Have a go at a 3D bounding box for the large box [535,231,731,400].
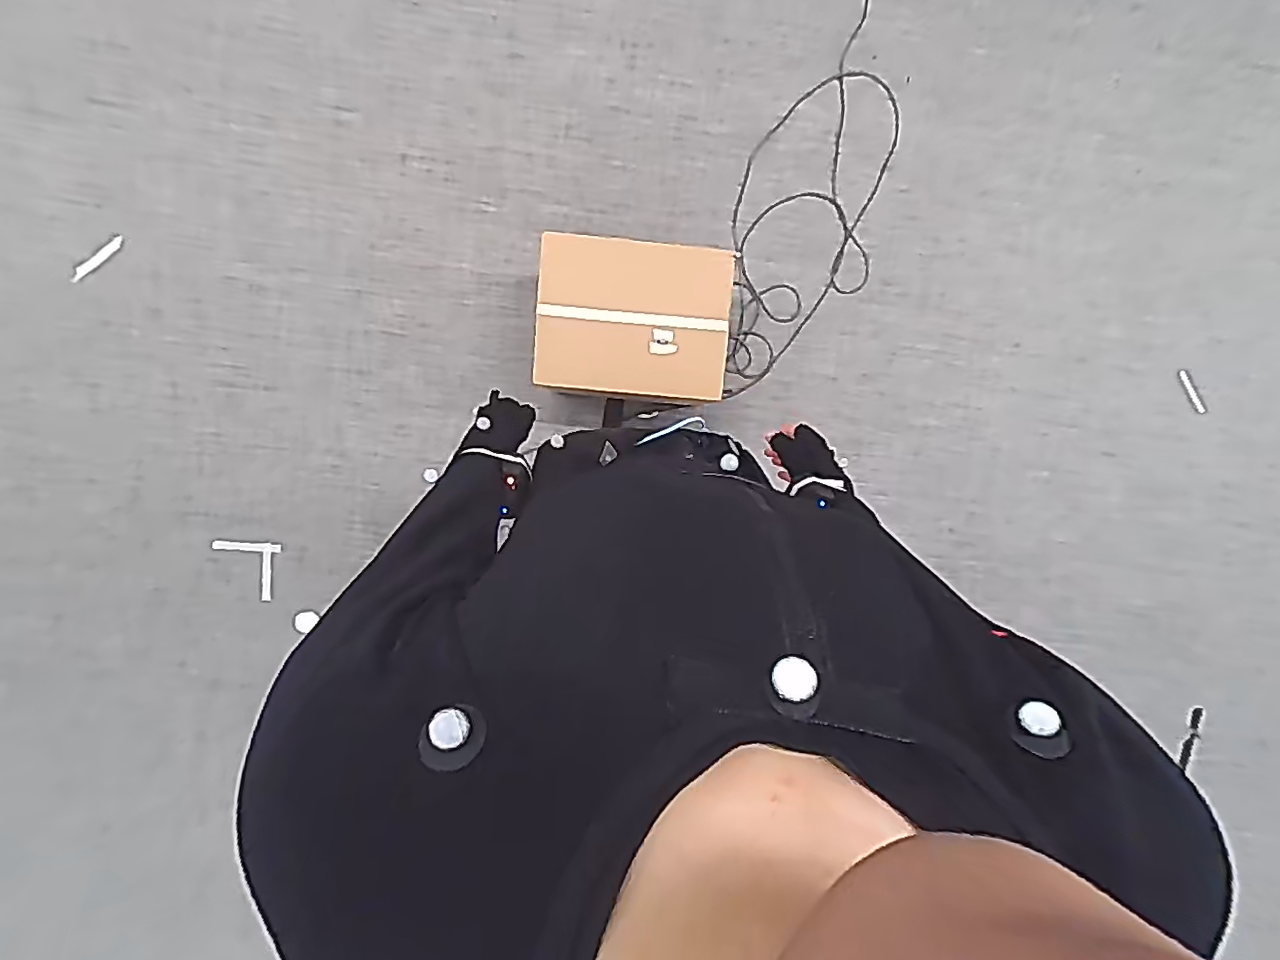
[{"bbox_3d":[-0.025,-0.365,1.290,0.408,0.320,0.320,5,97,-4],"label":"large box"}]
